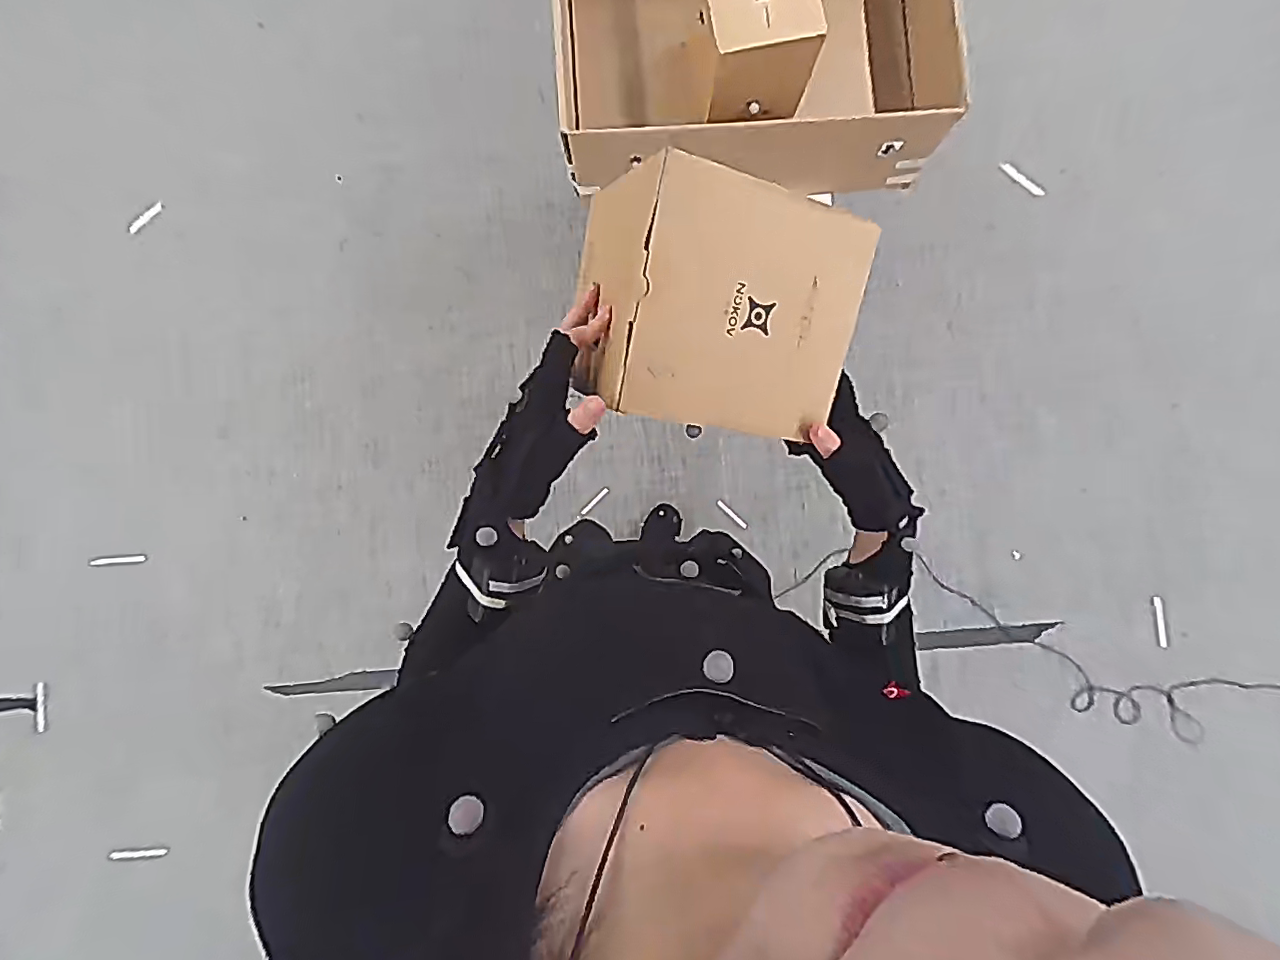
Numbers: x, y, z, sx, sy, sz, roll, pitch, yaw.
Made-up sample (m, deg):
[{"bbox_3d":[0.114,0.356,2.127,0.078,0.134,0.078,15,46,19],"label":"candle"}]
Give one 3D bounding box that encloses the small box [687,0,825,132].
[{"bbox_3d":[0.176,-0.712,0.875,0.168,0.176,0.179,-11,87,-1],"label":"small box"}]
